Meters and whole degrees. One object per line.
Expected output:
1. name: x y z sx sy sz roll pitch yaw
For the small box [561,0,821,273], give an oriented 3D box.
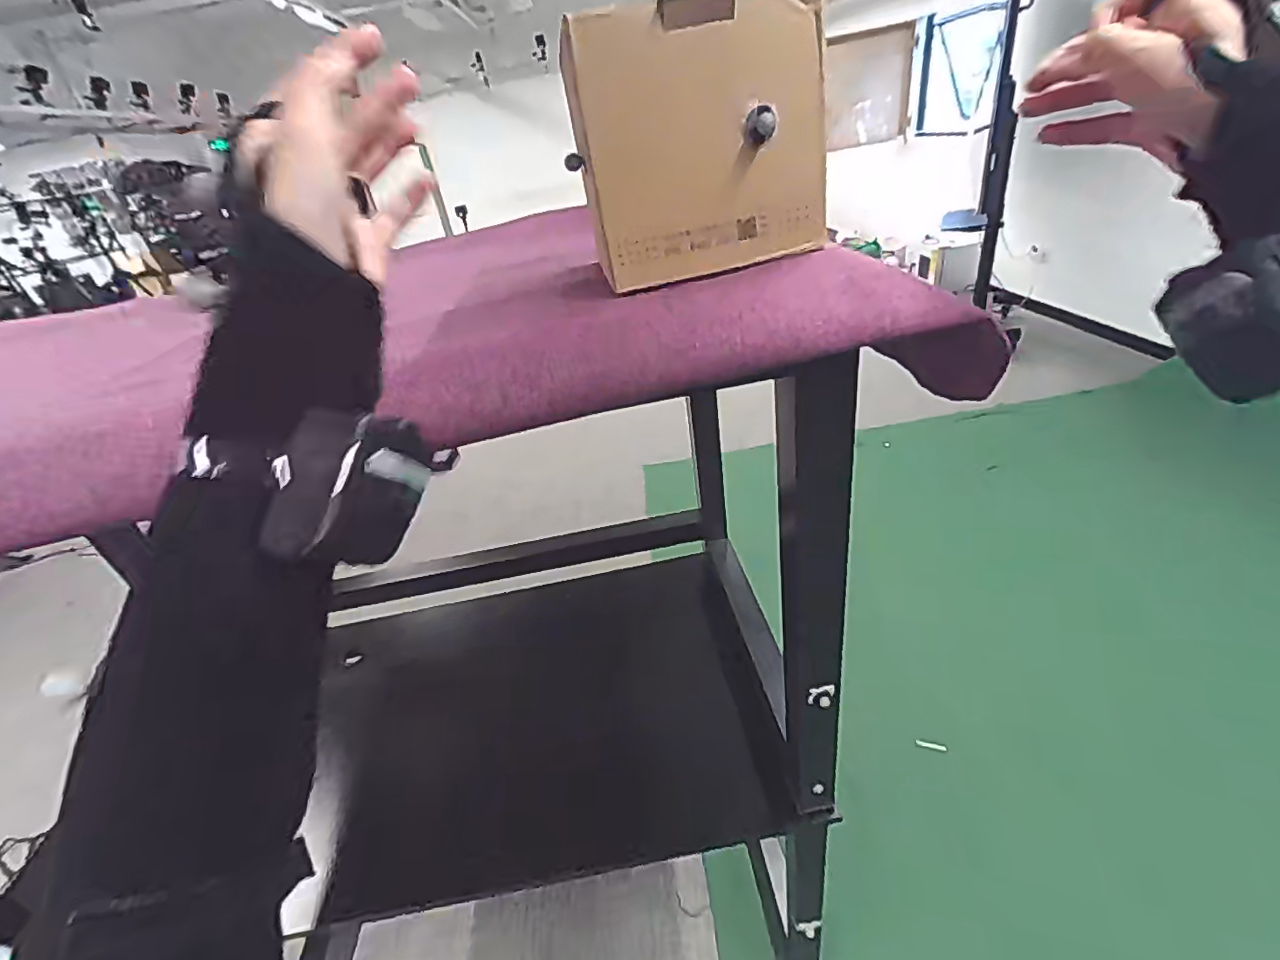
1. small box: 0.037 -0.274 0.433 0.168 0.176 0.179 -12 30 -2
